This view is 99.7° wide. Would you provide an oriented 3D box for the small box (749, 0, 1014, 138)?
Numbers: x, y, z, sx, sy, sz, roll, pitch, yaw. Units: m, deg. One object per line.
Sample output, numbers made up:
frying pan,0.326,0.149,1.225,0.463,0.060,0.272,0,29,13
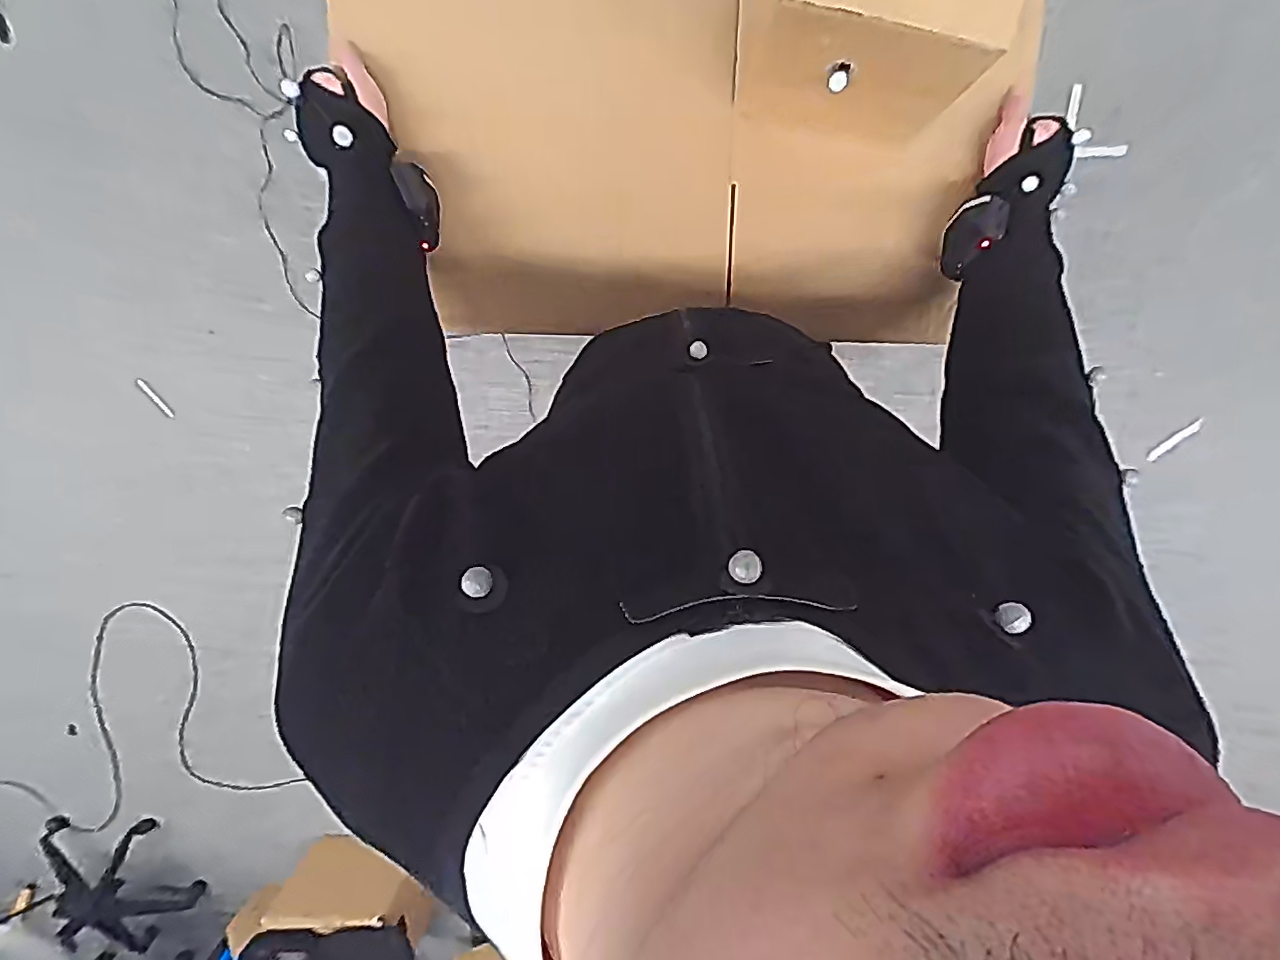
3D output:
small box,0.204,-0.430,0.466,0.179,0.176,0.168,12,101,0
